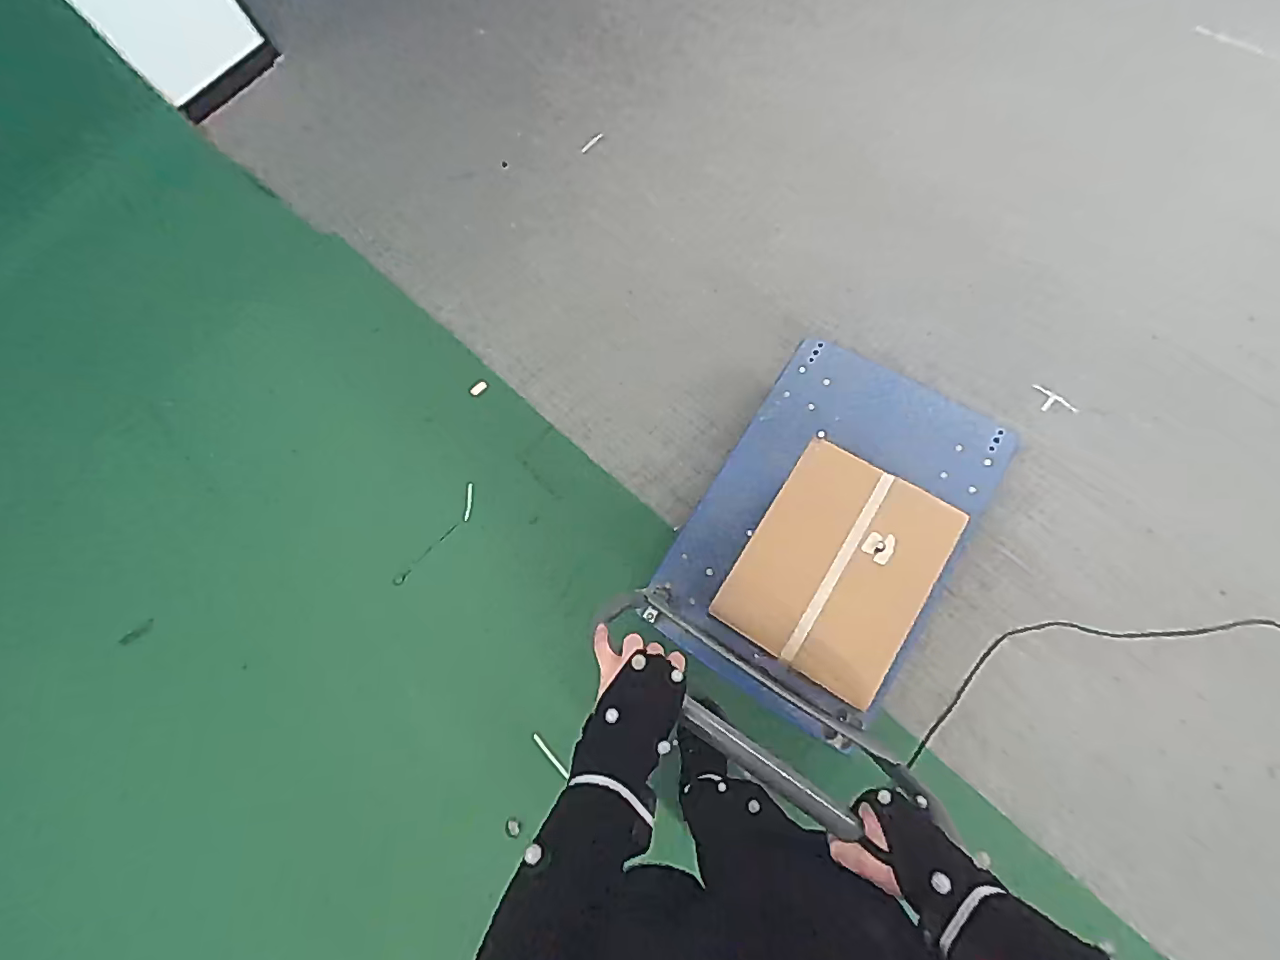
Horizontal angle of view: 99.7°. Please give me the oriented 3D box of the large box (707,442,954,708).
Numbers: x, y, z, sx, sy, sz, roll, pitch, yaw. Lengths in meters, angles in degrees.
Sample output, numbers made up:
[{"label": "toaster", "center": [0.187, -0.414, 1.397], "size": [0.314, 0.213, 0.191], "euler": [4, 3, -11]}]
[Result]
[{"label": "large box", "center": [0.370, 0.203, 1.139], "size": [0.320, 0.320, 0.408], "euler": [31, 79, 14]}]
